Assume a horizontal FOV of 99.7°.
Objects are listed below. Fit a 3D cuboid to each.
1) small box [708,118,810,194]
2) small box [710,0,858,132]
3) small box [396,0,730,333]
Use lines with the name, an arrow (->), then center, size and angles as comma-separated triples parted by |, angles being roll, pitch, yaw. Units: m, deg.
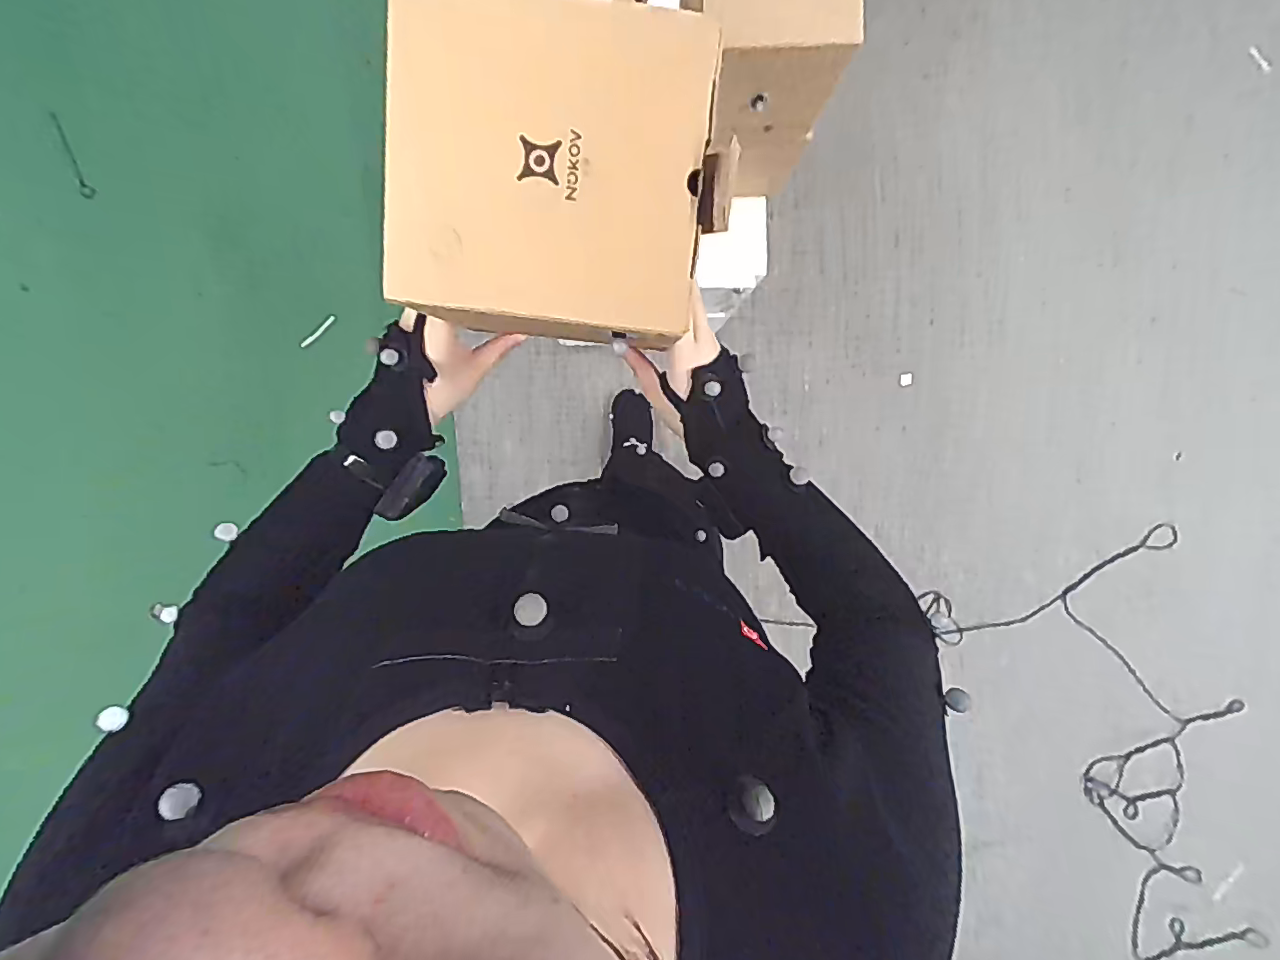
small box -> 0.137, -0.542, 0.795 | 0.179, 0.176, 0.168 | -1, 94, -3
small box -> 0.139, -0.536, 0.631 | 0.168, 0.176, 0.179 | -3, 94, -3
small box -> -0.049, -0.200, 0.379 | 0.179, 0.176, 0.168 | 5, 101, -4
